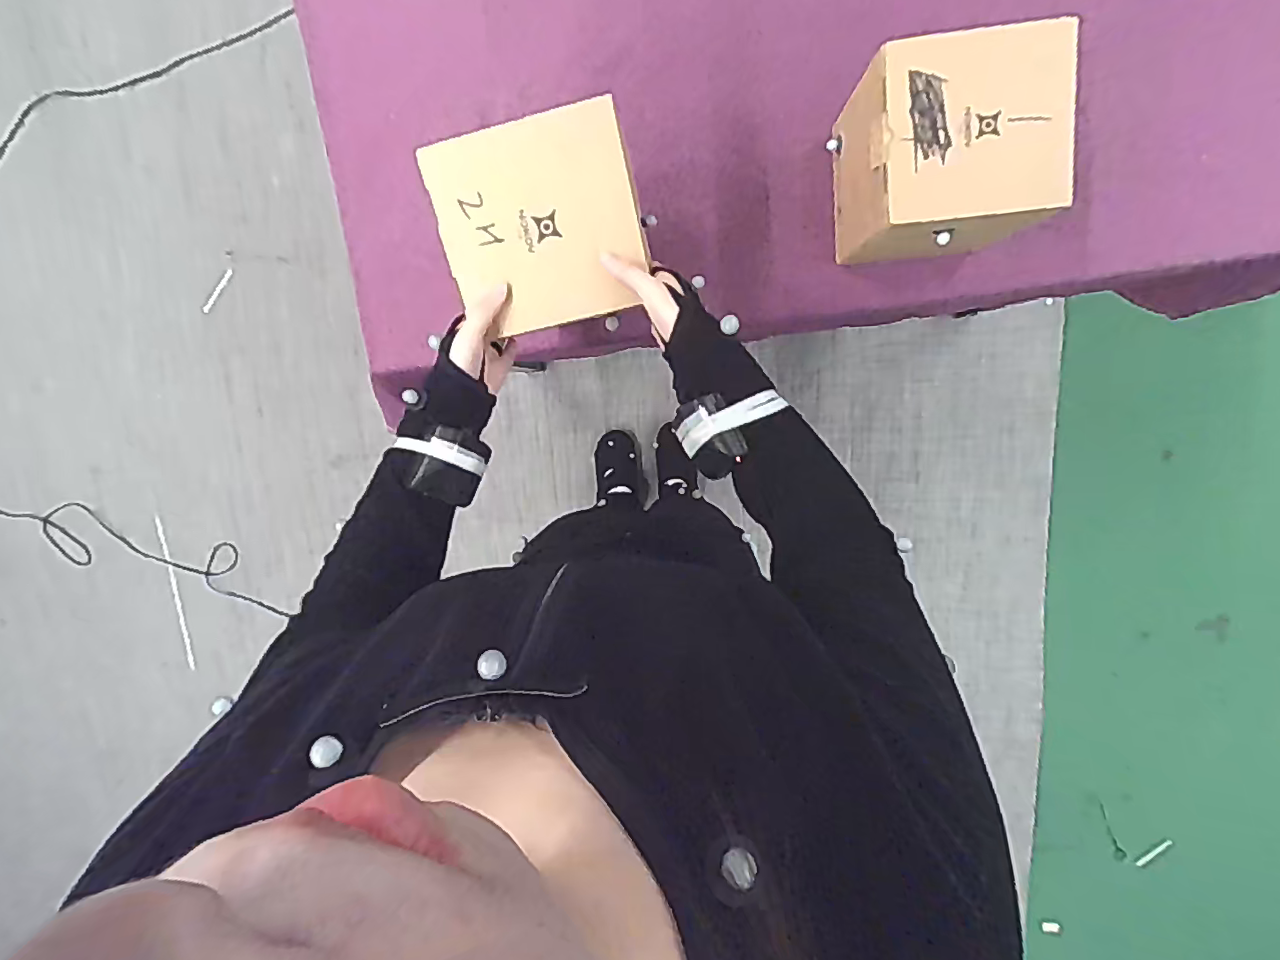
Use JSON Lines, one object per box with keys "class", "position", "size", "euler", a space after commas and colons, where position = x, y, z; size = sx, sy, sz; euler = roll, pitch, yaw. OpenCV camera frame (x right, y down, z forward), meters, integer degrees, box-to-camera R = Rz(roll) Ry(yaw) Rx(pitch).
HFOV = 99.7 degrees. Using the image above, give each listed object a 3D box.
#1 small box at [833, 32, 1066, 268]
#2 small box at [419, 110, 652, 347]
{"class": "small box", "position": [0.320, -0.342, 0.598], "size": [0.179, 0.176, 0.168], "euler": [-4, 99, 3]}
{"class": "small box", "position": [-0.085, -0.239, 0.550], "size": [0.179, 0.176, 0.168], "euler": [-10, 107, 7]}
